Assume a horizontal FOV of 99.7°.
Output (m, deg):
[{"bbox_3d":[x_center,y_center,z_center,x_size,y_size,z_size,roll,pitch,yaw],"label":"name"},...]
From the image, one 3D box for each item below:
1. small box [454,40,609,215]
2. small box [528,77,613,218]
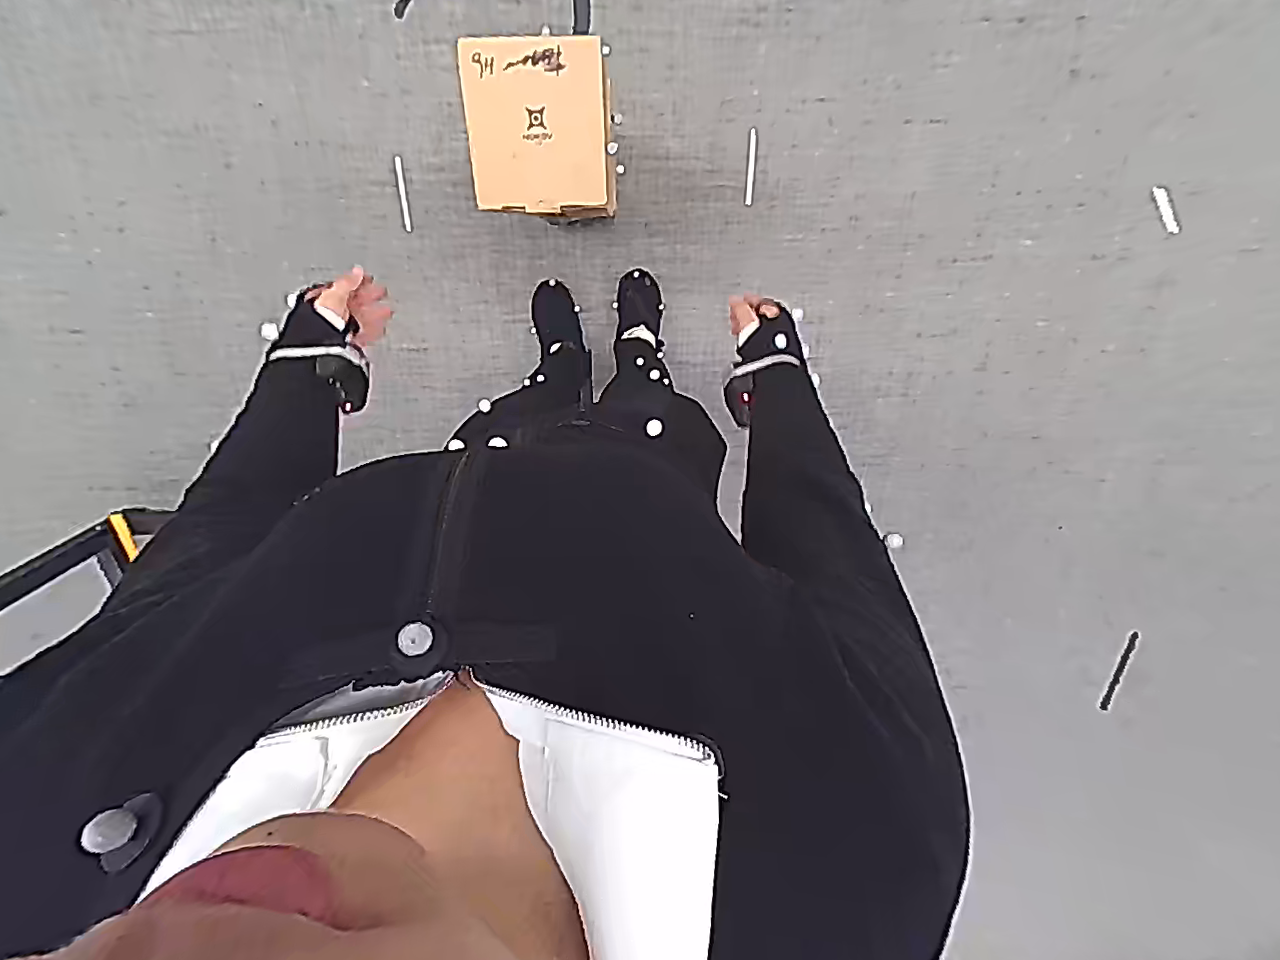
[{"bbox_3d":[-0.127,-0.449,0.712,0.168,0.176,0.179,-1,115,-1],"label":"small box"},{"bbox_3d":[-0.129,-0.519,0.860,0.168,0.176,0.179,1,115,-2],"label":"small box"}]
